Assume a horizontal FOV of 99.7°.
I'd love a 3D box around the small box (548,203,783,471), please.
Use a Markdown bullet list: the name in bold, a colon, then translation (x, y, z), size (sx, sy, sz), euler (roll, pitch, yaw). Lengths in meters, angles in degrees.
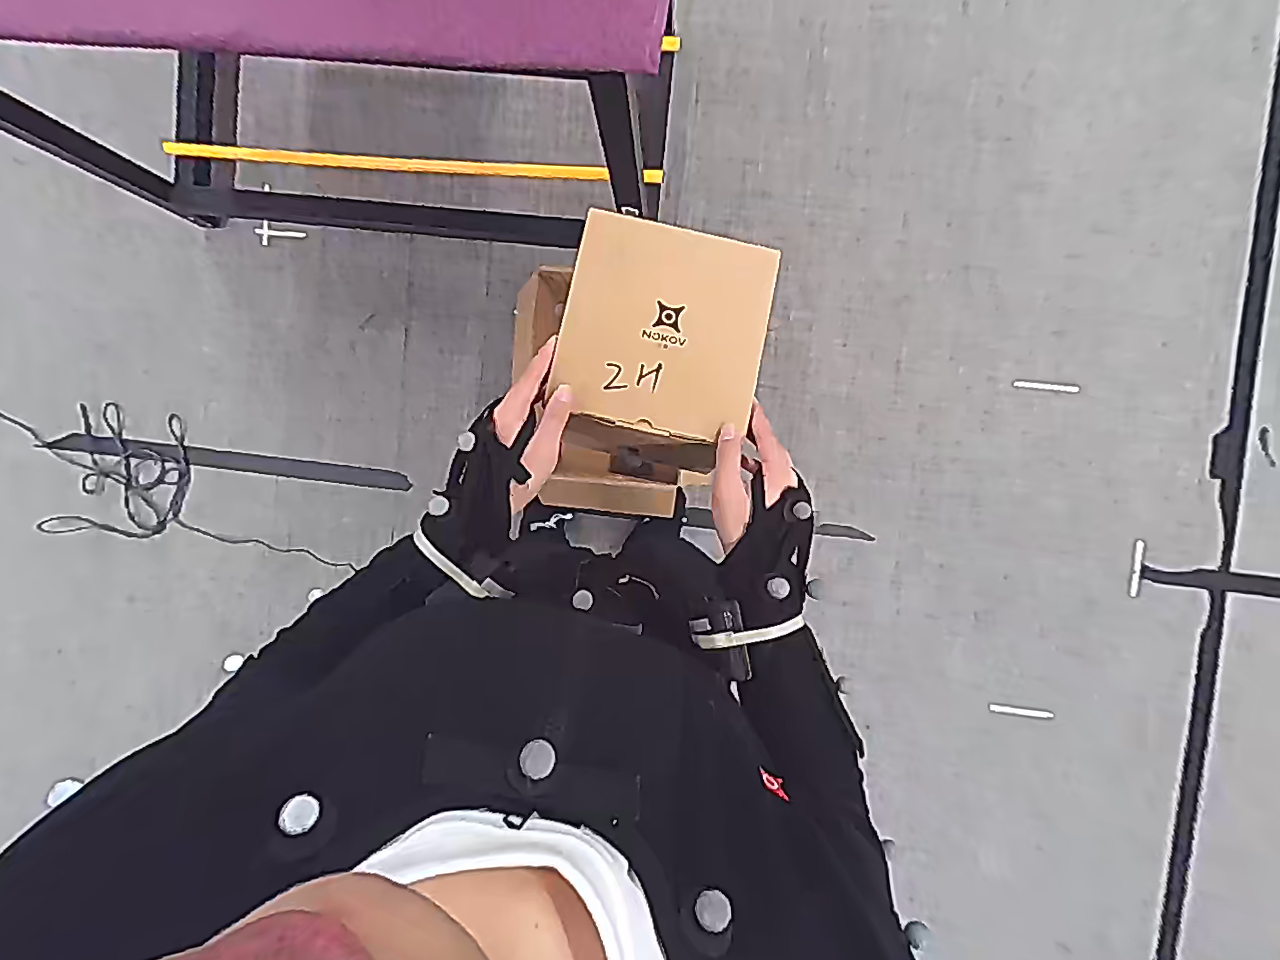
- **small box**: translation (0.019, -0.118, 0.516), size (0.168, 0.176, 0.179), euler (13, 83, -1)
